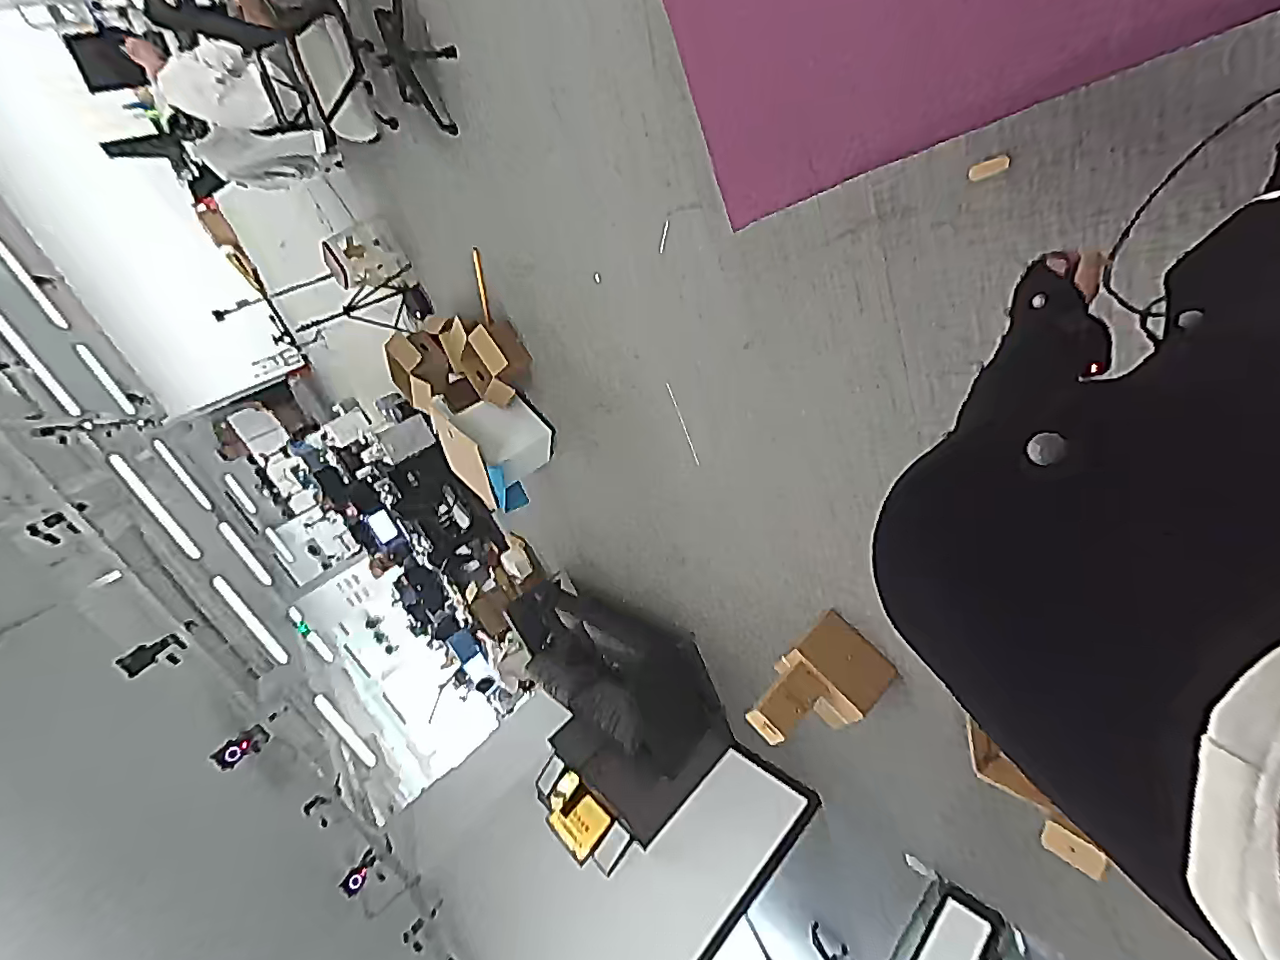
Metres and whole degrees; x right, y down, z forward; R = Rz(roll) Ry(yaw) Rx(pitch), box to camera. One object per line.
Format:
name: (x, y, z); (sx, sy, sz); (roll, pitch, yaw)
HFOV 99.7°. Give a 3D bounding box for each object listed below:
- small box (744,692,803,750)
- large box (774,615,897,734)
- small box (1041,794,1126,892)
small box: (0.603, 1.081, 2.431); (0.168, 0.176, 0.179); (45, 150, 18)
large box: (0.941, 0.943, 2.635); (0.408, 0.320, 0.320); (43, 150, 18)
small box: (1.472, 1.198, 1.795); (0.168, 0.176, 0.179); (23, 138, 48)
